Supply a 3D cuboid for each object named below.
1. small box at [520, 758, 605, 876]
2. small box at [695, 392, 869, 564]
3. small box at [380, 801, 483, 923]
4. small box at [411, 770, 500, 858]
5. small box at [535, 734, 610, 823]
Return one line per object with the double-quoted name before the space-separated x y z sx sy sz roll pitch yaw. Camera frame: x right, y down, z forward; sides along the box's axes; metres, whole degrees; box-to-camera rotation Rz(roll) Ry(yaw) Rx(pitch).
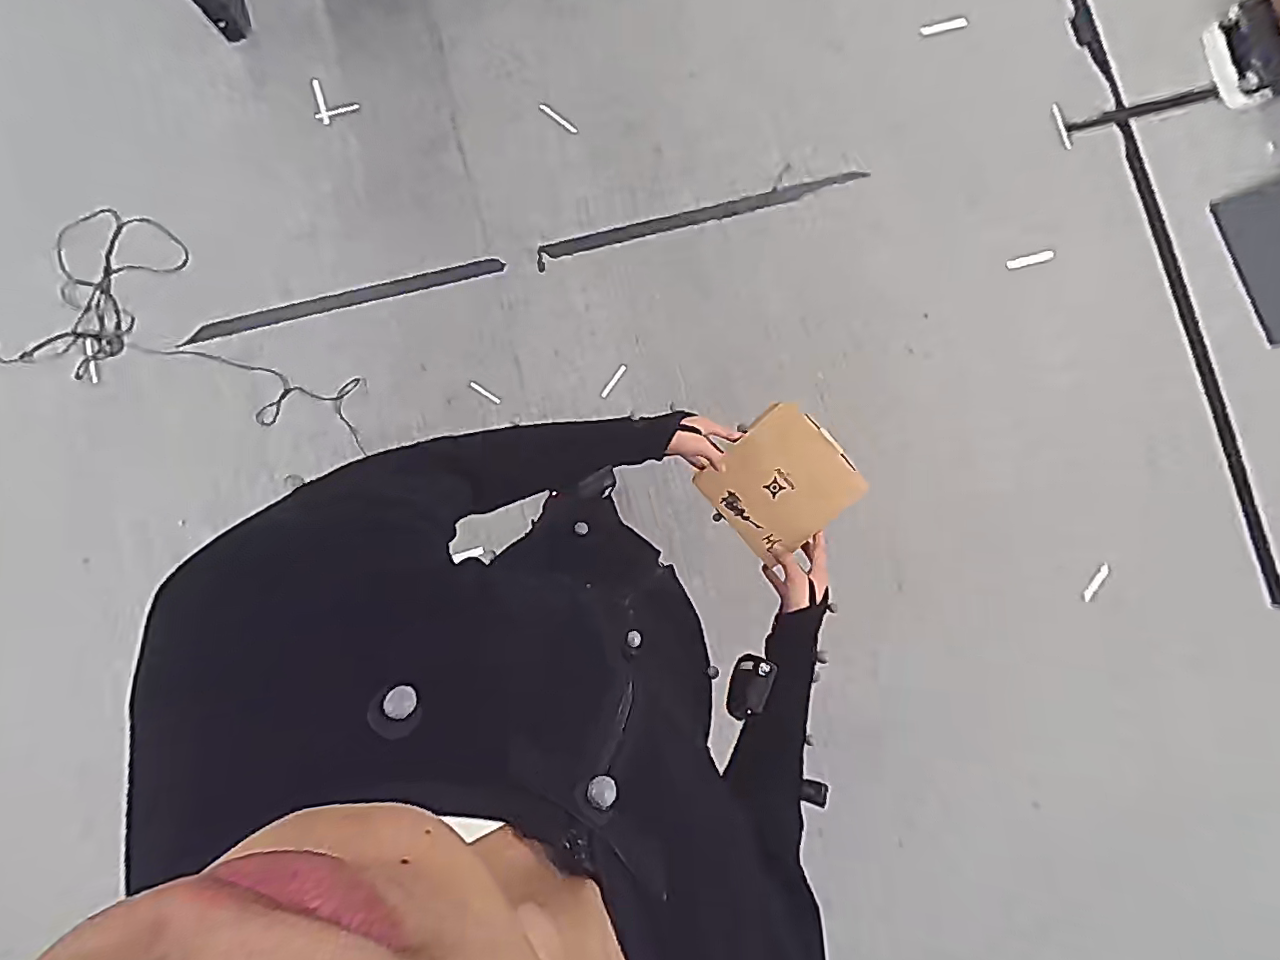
"small box" -0.186 0.836 1.356 0.168 0.176 0.179 -14 88 -1
"small box" 0.194 -0.008 0.799 0.179 0.176 0.168 -43 89 7
"small box" -0.513 0.939 1.352 0.168 0.176 0.179 -17 89 -1
"small box" -0.511 0.945 1.515 0.168 0.176 0.179 -17 89 -1
"small box" -0.184 0.849 1.519 0.168 0.176 0.179 -14 87 -1
